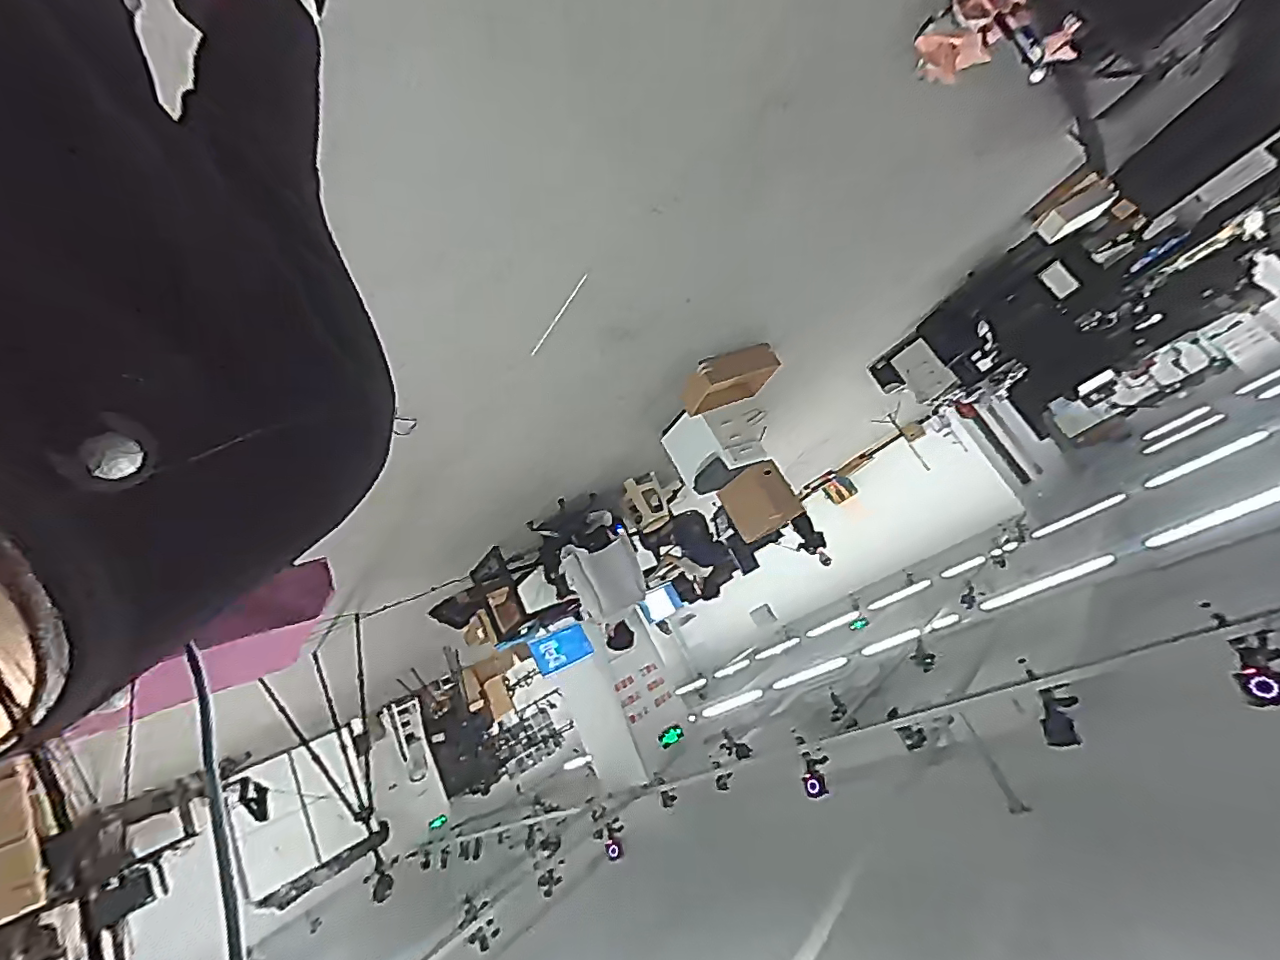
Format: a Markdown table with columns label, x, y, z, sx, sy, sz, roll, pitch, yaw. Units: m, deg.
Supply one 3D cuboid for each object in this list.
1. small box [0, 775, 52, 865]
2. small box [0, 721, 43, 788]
| label | x | y | z | sx | sy | sz | roll | pitch | yaw |
| --- | --- | --- | --- | --- | --- | --- | --- | --- | --- |
| small box | -1.725 | 0.931 | 1.449 | 0.179 | 0.176 | 0.168 | -12 | 158 | -47 |
| small box | -1.813 | 0.803 | 1.504 | 0.179 | 0.176 | 0.168 | -13 | 158 | -45 |
